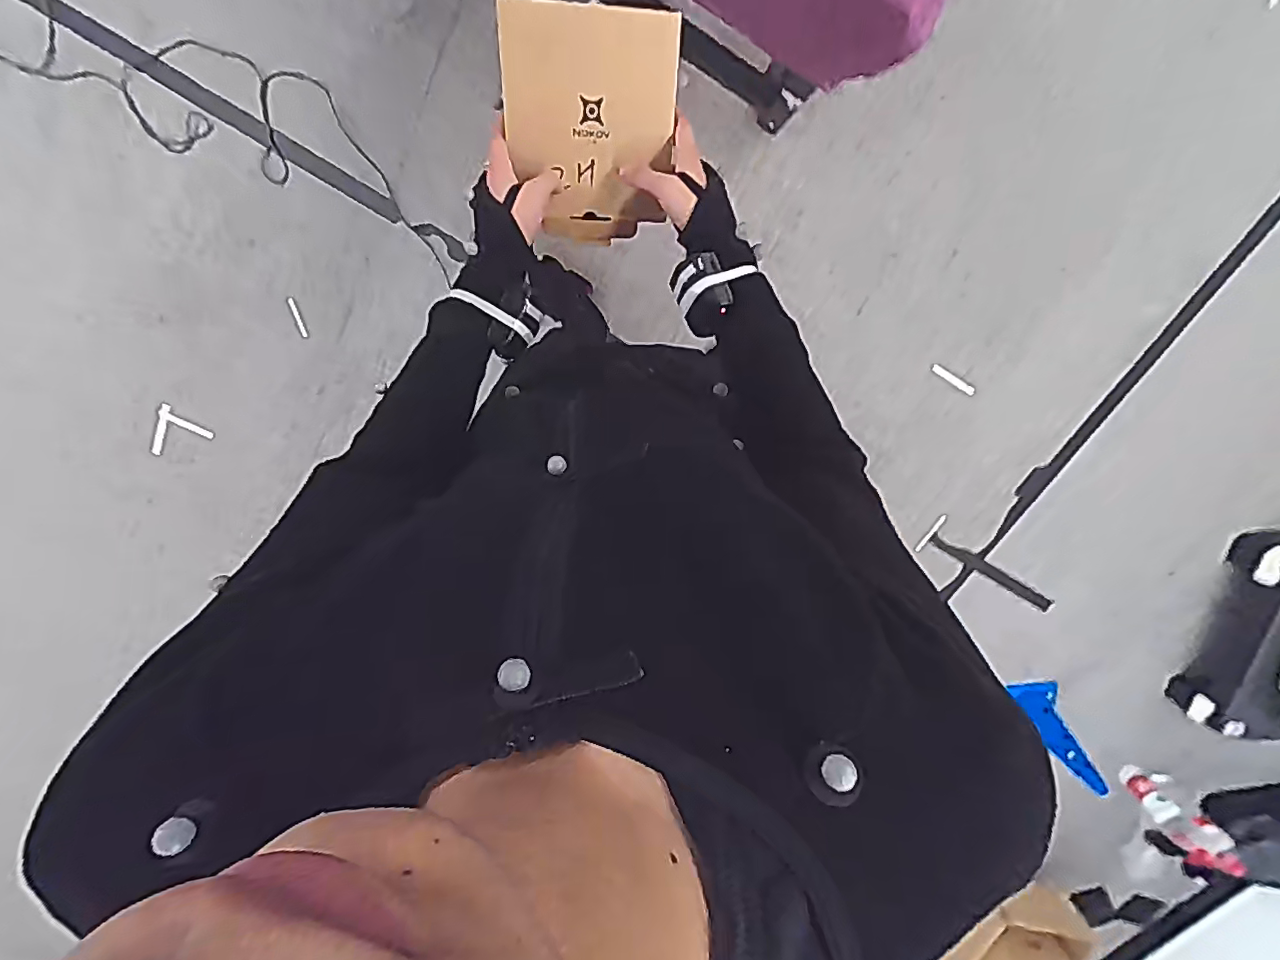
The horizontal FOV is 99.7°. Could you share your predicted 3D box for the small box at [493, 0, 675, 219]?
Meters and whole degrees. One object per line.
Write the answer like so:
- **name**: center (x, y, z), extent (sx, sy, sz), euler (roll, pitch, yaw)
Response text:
- **small box**: center (-0.064, -0.393, 0.586), extent (0.168, 0.176, 0.179), euler (-1, 123, -8)
